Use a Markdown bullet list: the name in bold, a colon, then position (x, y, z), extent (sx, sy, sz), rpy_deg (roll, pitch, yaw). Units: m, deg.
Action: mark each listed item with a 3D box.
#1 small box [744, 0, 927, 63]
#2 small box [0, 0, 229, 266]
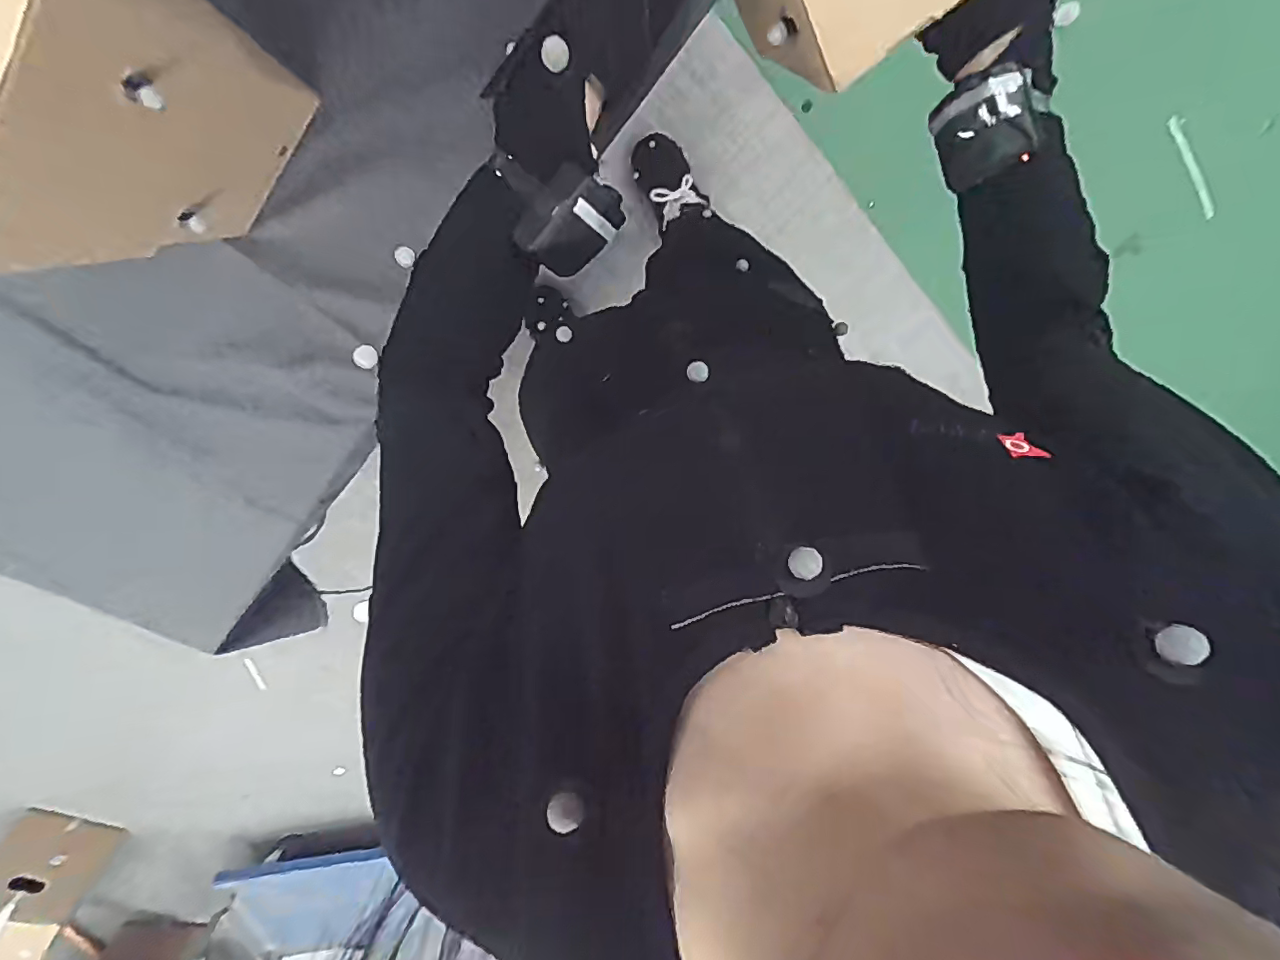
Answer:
- **small box**: position (0.120, -0.381, 0.293), extent (0.168, 0.176, 0.179), rpy_deg (-32, 133, 20)
- **small box**: position (-0.384, -0.252, 0.306), extent (0.168, 0.176, 0.179), rpy_deg (35, 108, -21)
